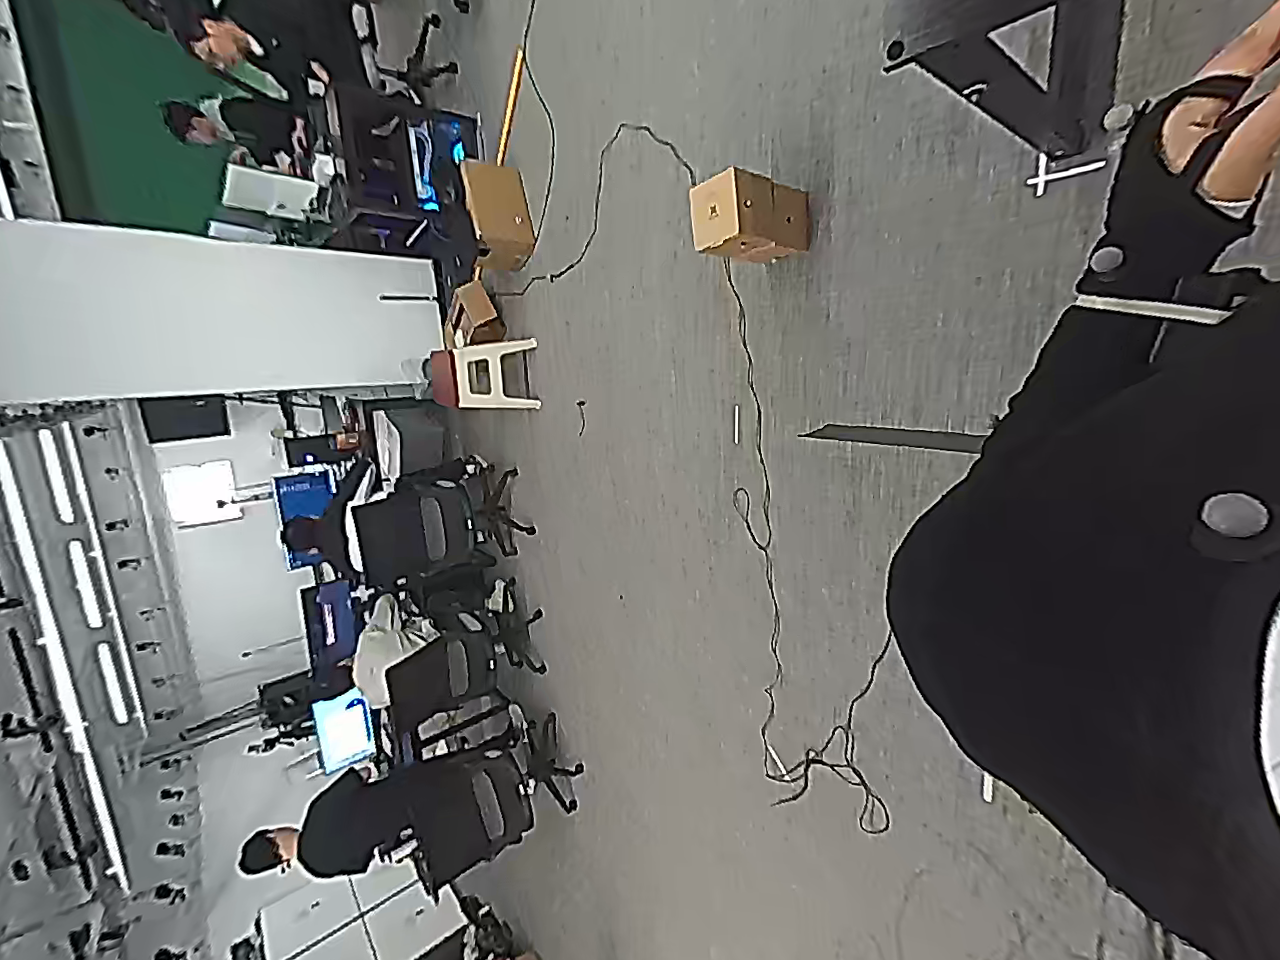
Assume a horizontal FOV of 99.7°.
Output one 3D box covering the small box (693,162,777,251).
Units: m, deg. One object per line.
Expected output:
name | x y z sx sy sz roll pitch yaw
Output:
small box | 0.273 -0.761 1.531 0.168 0.176 0.179 2 100 50

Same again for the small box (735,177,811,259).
small box | 0.399 -0.781 1.631 0.168 0.176 0.179 7 106 50
